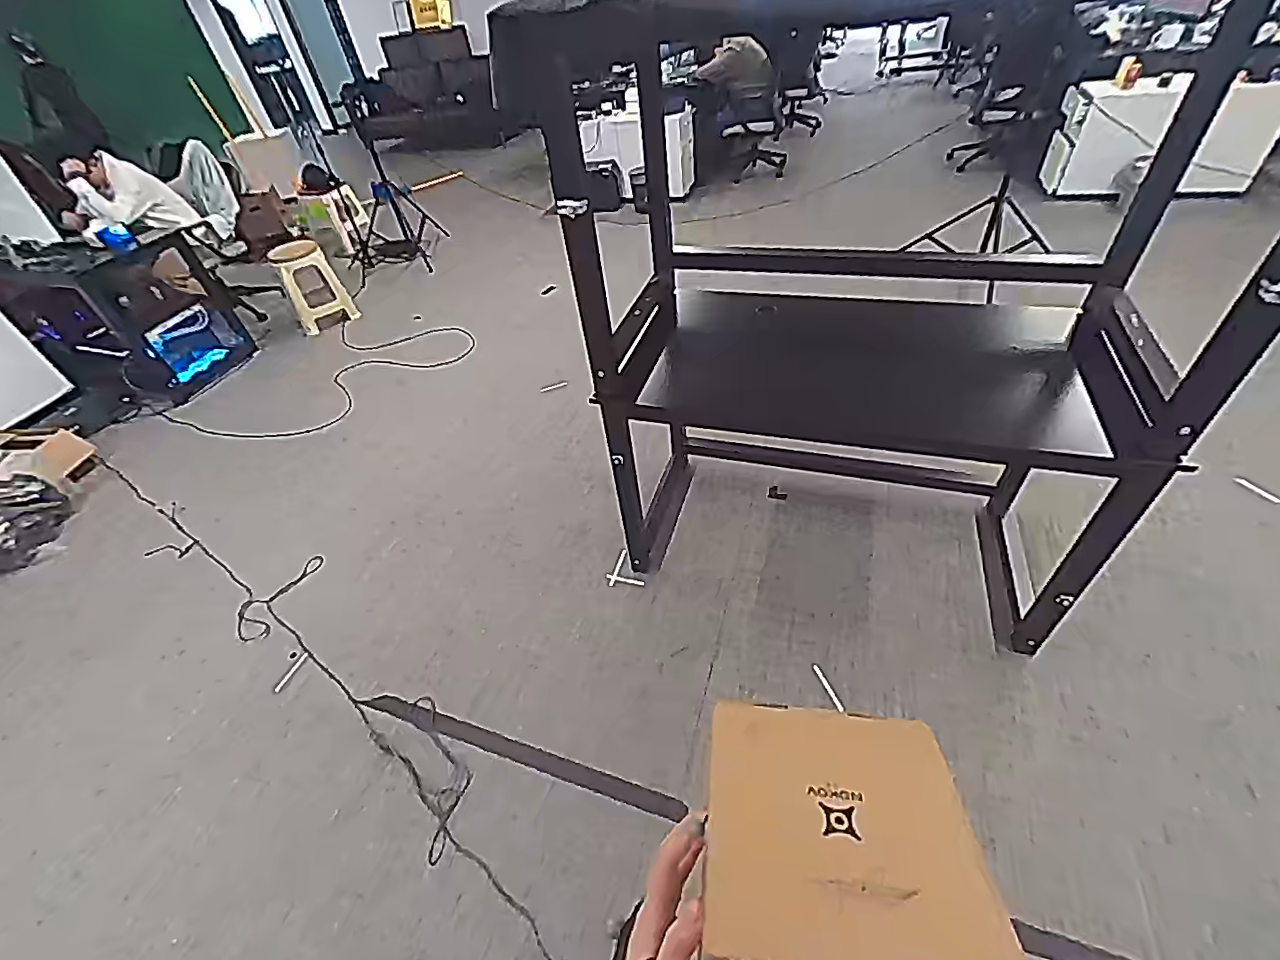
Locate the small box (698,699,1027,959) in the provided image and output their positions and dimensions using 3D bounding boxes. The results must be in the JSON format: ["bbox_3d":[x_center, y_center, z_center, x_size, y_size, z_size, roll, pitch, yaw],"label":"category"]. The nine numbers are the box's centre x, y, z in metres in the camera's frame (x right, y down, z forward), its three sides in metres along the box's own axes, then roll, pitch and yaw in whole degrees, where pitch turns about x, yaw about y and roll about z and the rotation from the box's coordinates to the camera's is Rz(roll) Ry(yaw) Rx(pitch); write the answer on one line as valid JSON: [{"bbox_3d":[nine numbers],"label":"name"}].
[{"bbox_3d":[0.128,0.289,0.379,0.168,0.176,0.179,3,25,8],"label":"small box"}]
